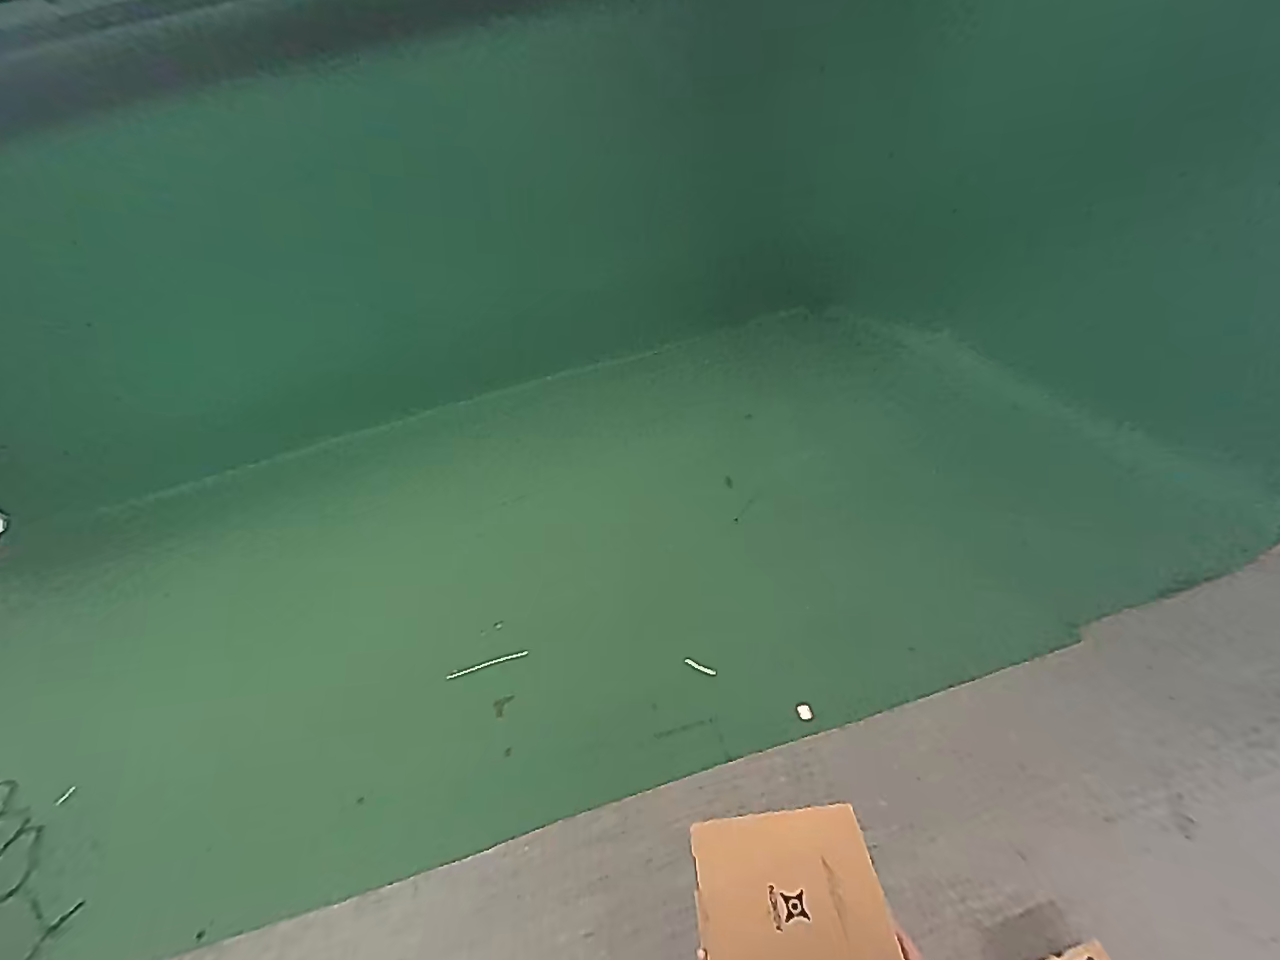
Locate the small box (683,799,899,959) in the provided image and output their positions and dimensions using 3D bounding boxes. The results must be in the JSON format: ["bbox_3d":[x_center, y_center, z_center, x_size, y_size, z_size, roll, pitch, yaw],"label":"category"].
[{"bbox_3d":[0.147,0.462,0.557,0.179,0.176,0.168,-9,36,1],"label":"small box"}]
